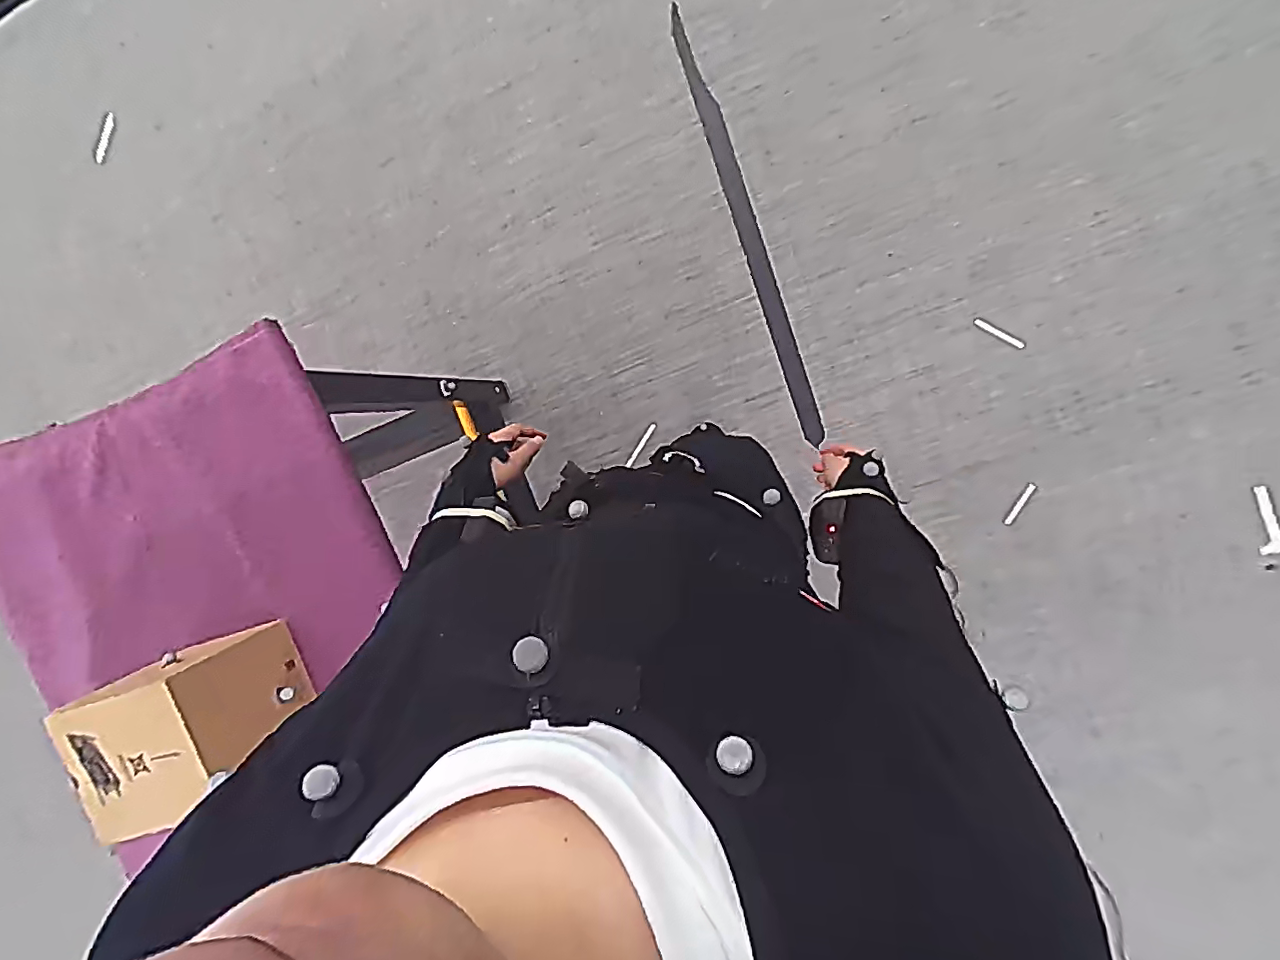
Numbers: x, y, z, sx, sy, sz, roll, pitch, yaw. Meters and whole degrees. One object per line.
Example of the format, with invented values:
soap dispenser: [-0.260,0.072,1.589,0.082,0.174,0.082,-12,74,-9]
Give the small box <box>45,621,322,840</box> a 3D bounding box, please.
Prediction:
small box: [-0.549,0.299,0.674,0.179,0.176,0.168,-18,96,10]
